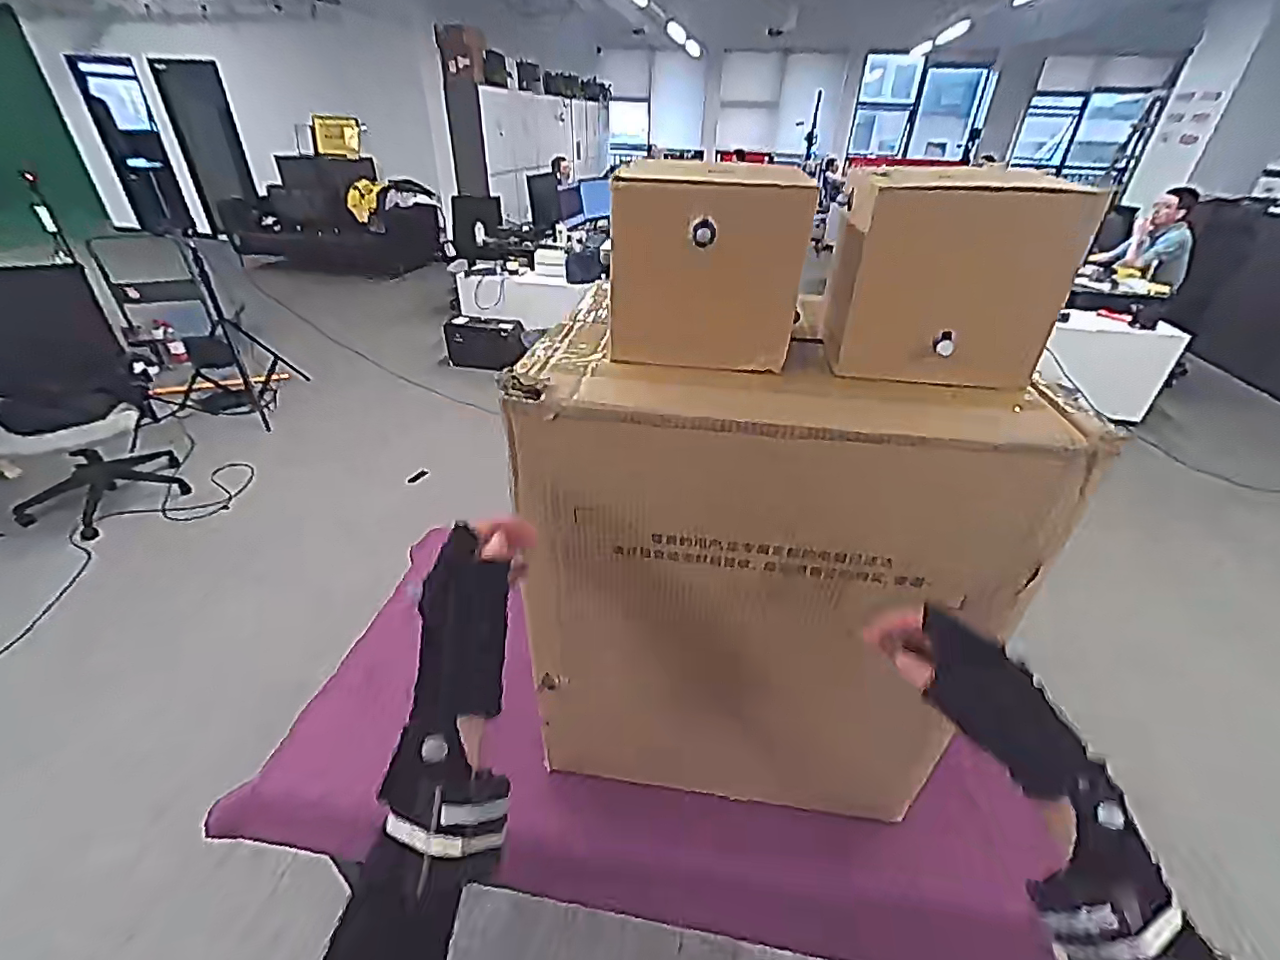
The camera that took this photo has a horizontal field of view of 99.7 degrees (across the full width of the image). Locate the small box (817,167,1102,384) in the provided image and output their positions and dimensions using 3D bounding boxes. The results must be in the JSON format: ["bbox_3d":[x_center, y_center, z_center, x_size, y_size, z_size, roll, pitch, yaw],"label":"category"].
[{"bbox_3d":[0.289,-0.207,0.541,0.179,0.176,0.168,6,34,8],"label":"small box"}]
